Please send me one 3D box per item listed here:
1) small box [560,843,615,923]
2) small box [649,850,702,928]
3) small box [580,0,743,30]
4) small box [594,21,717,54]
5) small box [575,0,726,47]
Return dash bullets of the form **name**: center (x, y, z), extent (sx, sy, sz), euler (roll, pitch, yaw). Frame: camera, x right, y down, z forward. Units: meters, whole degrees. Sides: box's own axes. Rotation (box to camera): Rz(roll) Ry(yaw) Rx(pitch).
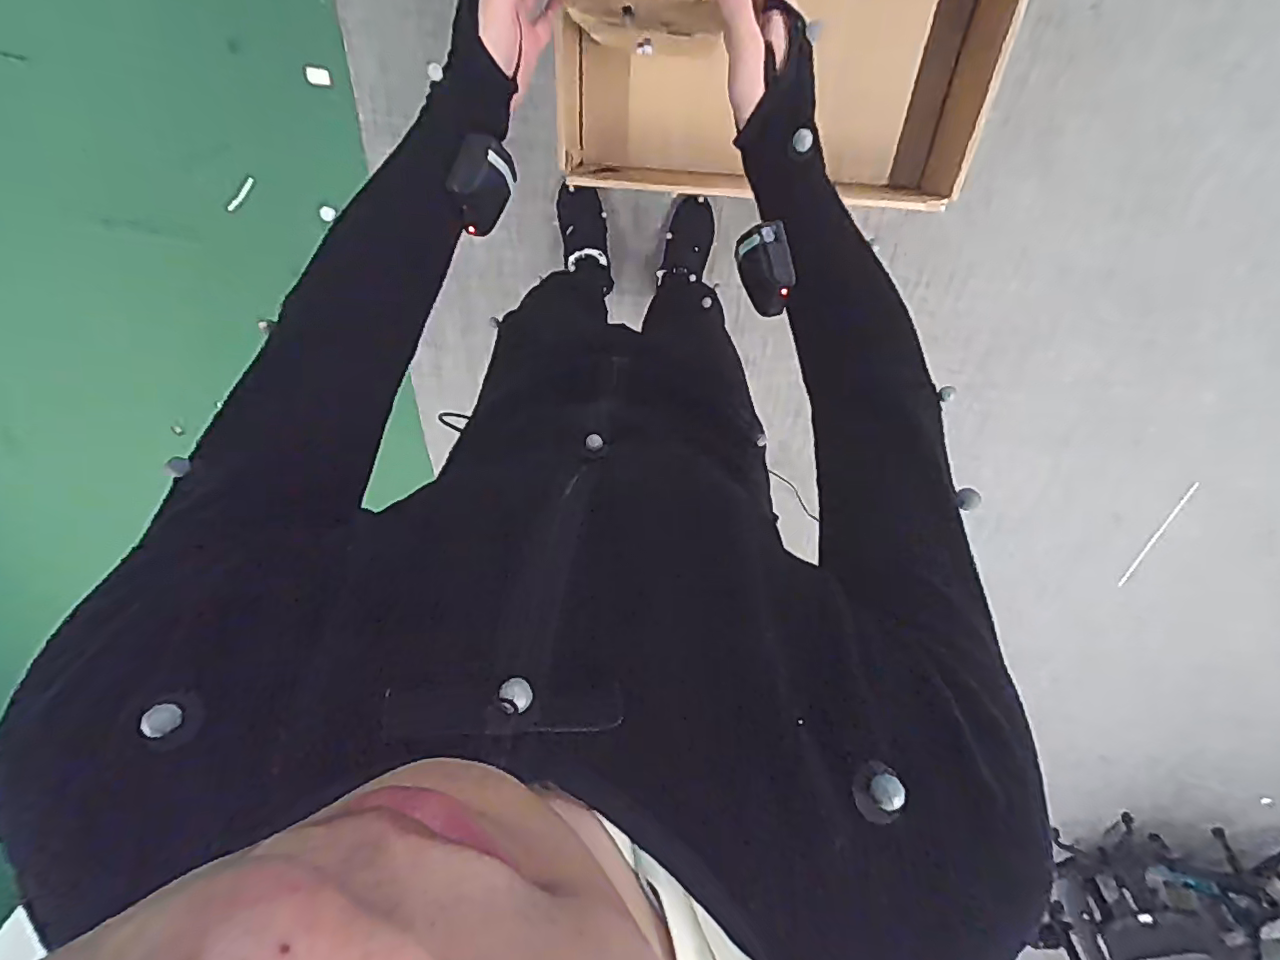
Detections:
- **small box**: center (-0.171, 1.349, 1.809), extent (0.168, 0.176, 0.179), euler (1, 124, 1)
- **small box**: center (0.114, 1.364, 1.806), extent (0.168, 0.176, 0.179), euler (2, 126, 1)
- **small box**: center (0.017, -0.500, 0.436), extent (0.168, 0.176, 0.179), euler (8, 124, -2)
- **small box**: center (0.031, -0.699, 0.729), extent (0.168, 0.176, 0.179), euler (5, 125, 0)
- **small box**: center (0.024, -0.605, 0.594), extent (0.168, 0.176, 0.179), euler (8, 125, -2)
